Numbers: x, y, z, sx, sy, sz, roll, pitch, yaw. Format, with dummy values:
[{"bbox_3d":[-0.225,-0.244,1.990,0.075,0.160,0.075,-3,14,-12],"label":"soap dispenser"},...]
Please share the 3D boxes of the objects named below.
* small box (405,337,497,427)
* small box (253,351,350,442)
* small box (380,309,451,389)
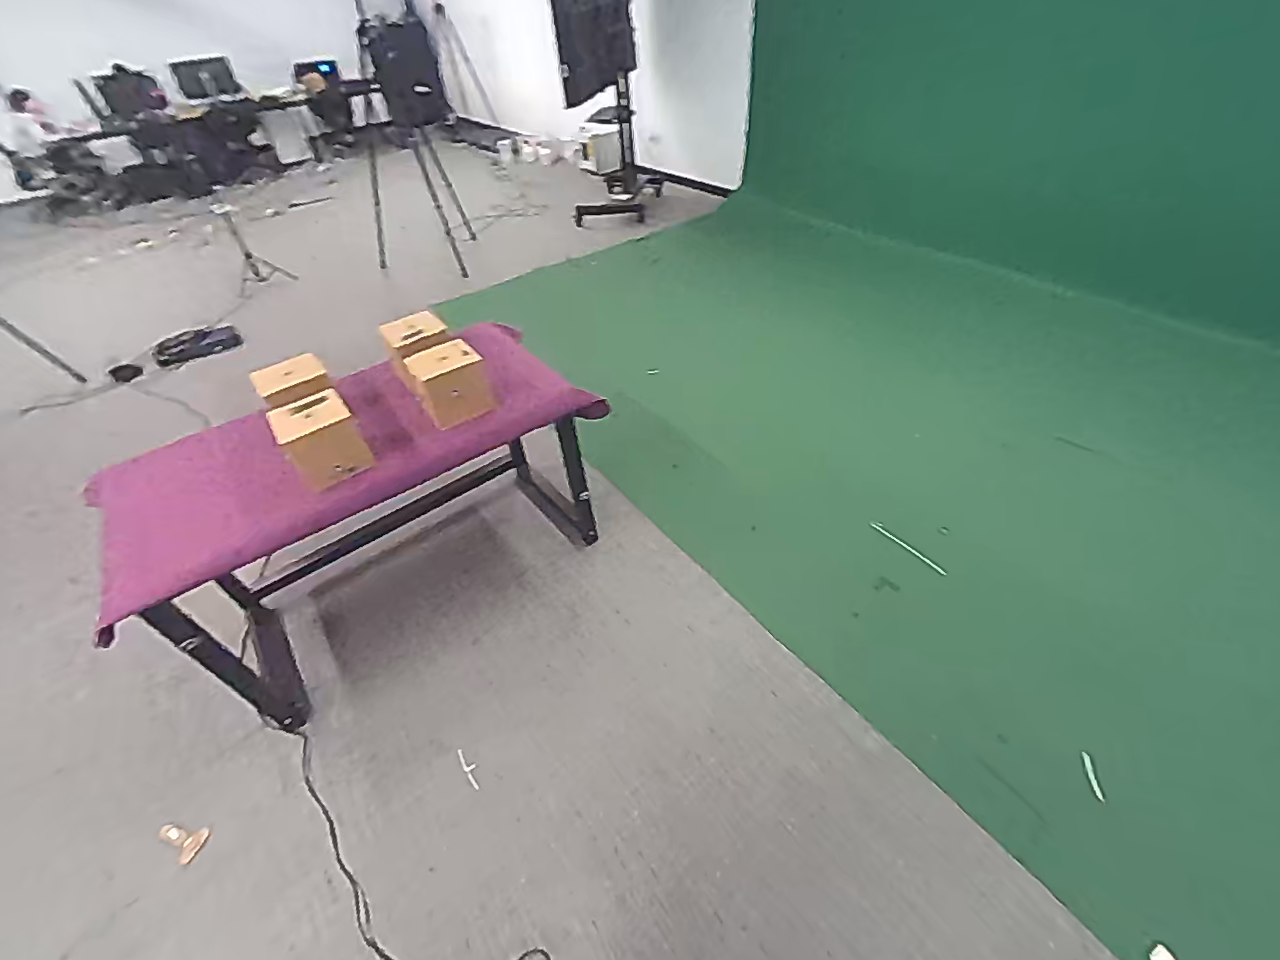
[{"bbox_3d":[-0.539,-0.280,1.555,0.179,0.176,0.168,-29,47,-21],"label":"small box"},{"bbox_3d":[-0.972,-0.243,1.568,0.179,0.176,0.168,-32,49,-24],"label":"small box"},{"bbox_3d":[-0.688,-0.410,1.710,0.168,0.176,0.179,-30,48,-23],"label":"small box"}]
